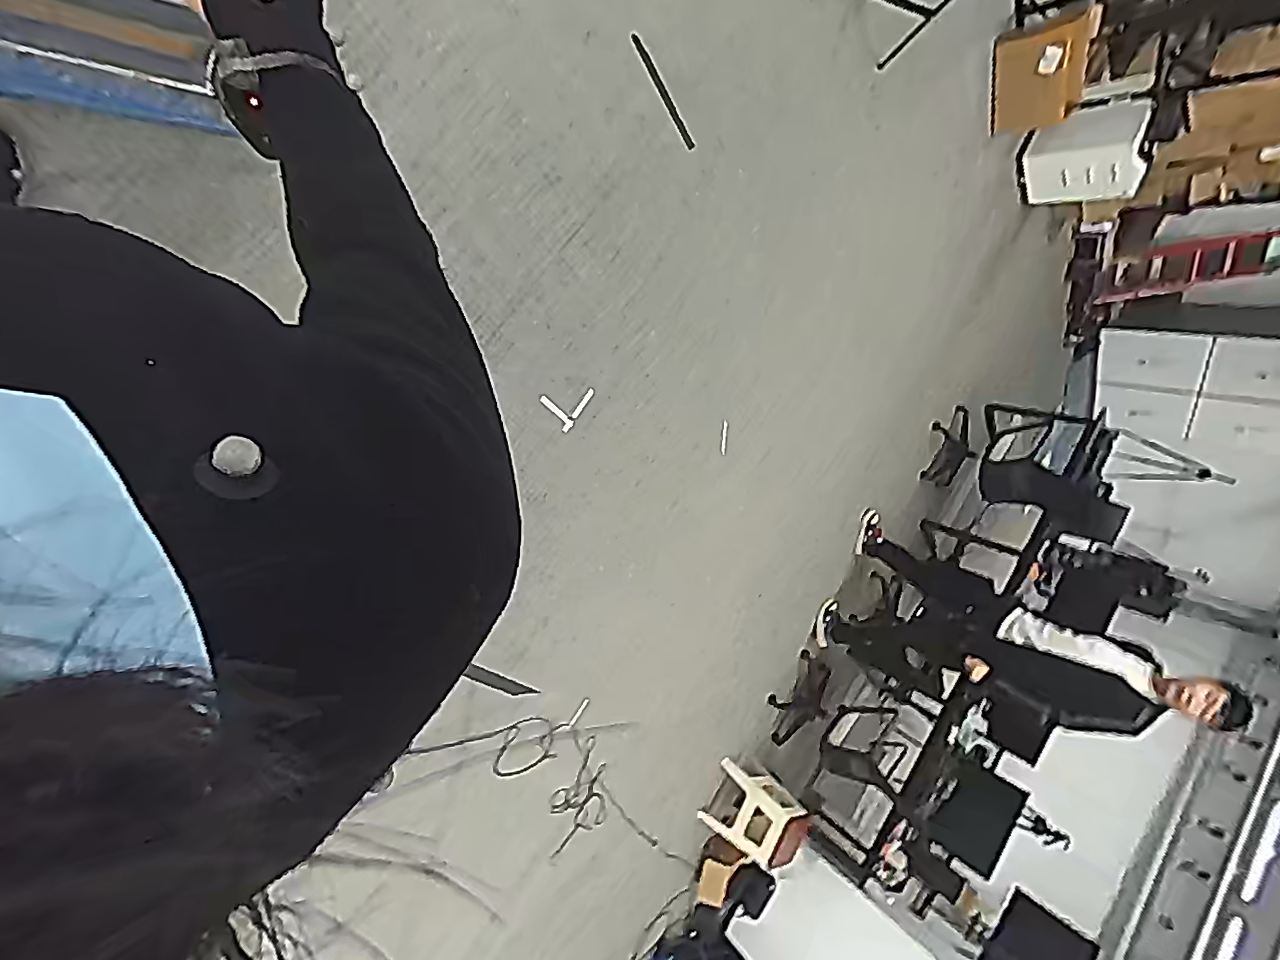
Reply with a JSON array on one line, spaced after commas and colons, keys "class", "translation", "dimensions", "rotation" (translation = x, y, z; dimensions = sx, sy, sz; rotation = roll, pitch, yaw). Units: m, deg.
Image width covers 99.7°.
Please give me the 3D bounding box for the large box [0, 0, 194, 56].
[{"class": "large box", "translation": [-0.804, -0.769, 0.619], "dimensions": [0.408, 0.320, 0.320], "rotation": [-12, 114, -41]}]
